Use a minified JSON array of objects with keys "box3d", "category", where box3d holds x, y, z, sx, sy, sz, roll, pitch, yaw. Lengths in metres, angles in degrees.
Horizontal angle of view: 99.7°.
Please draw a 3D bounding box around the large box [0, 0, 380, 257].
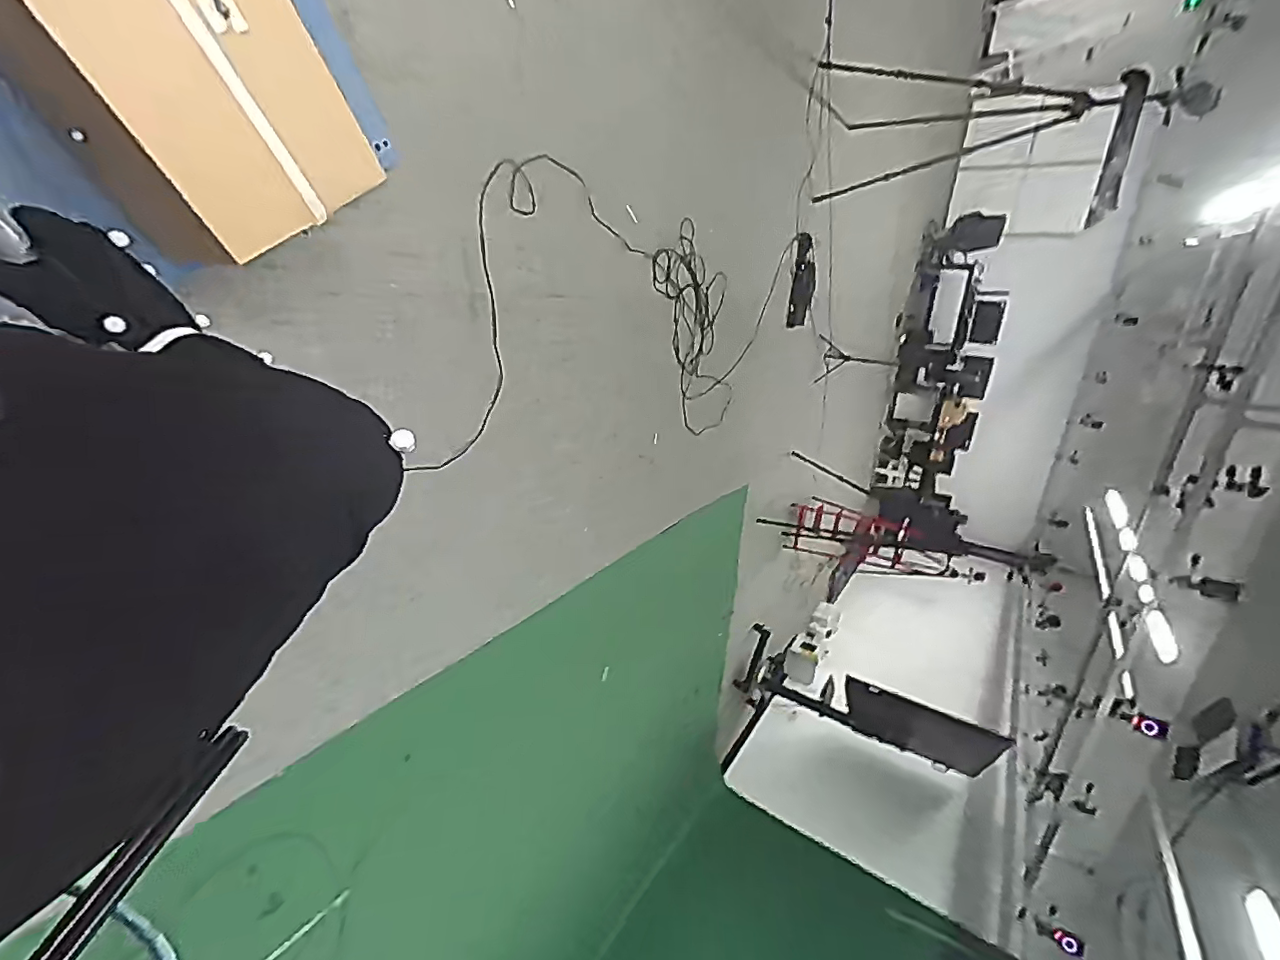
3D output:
[{"box3d":[-0.721,-0.617,0.855,0.320,0.320,0.408,-53,141,-29],"category":"large box"}]
